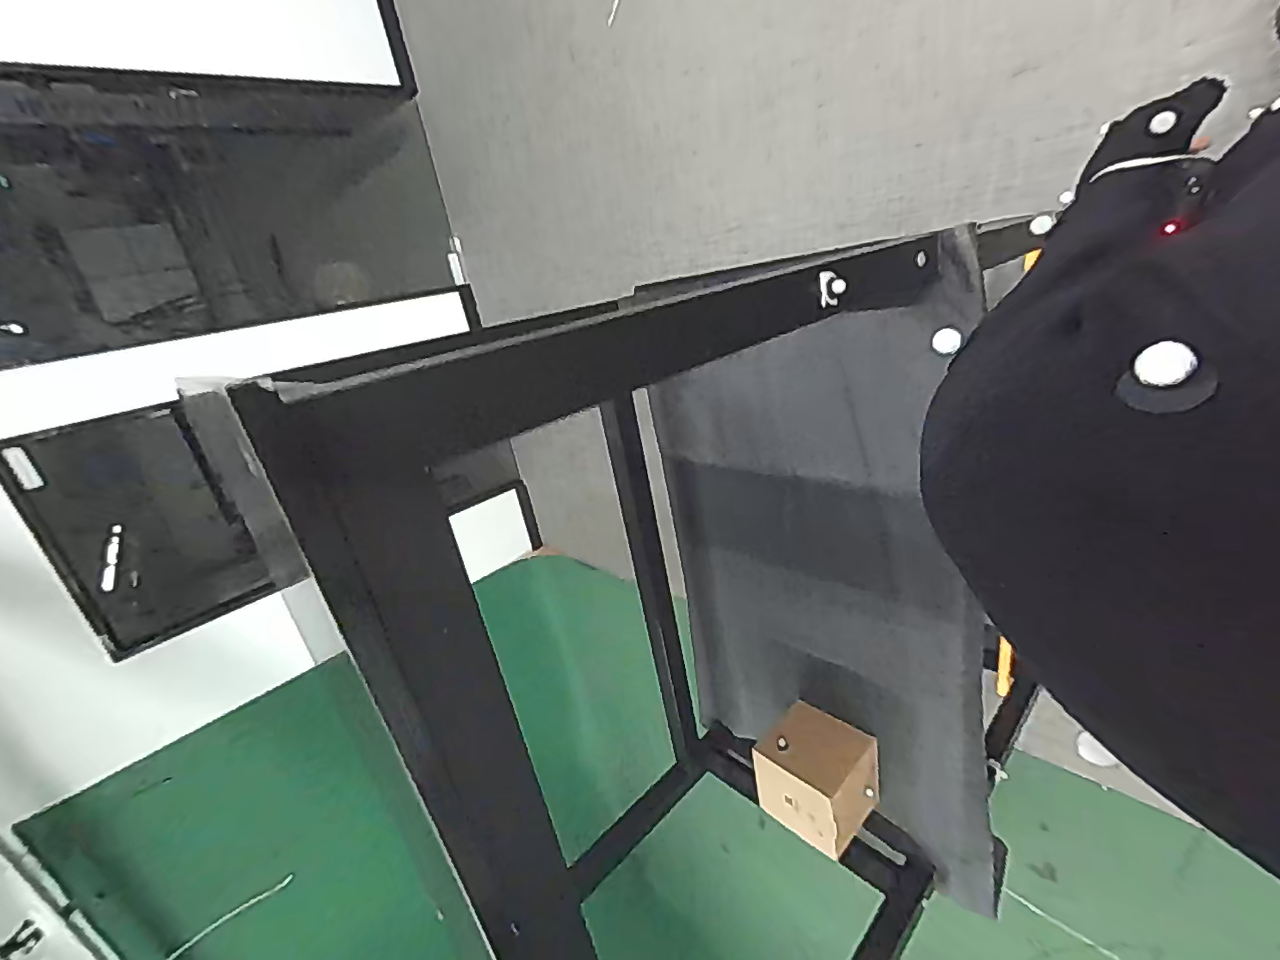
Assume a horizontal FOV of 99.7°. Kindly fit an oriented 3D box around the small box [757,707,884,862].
[{"bbox_3d":[0.358,0.583,1.067,0.179,0.176,0.168,13,121,48],"label":"small box"}]
